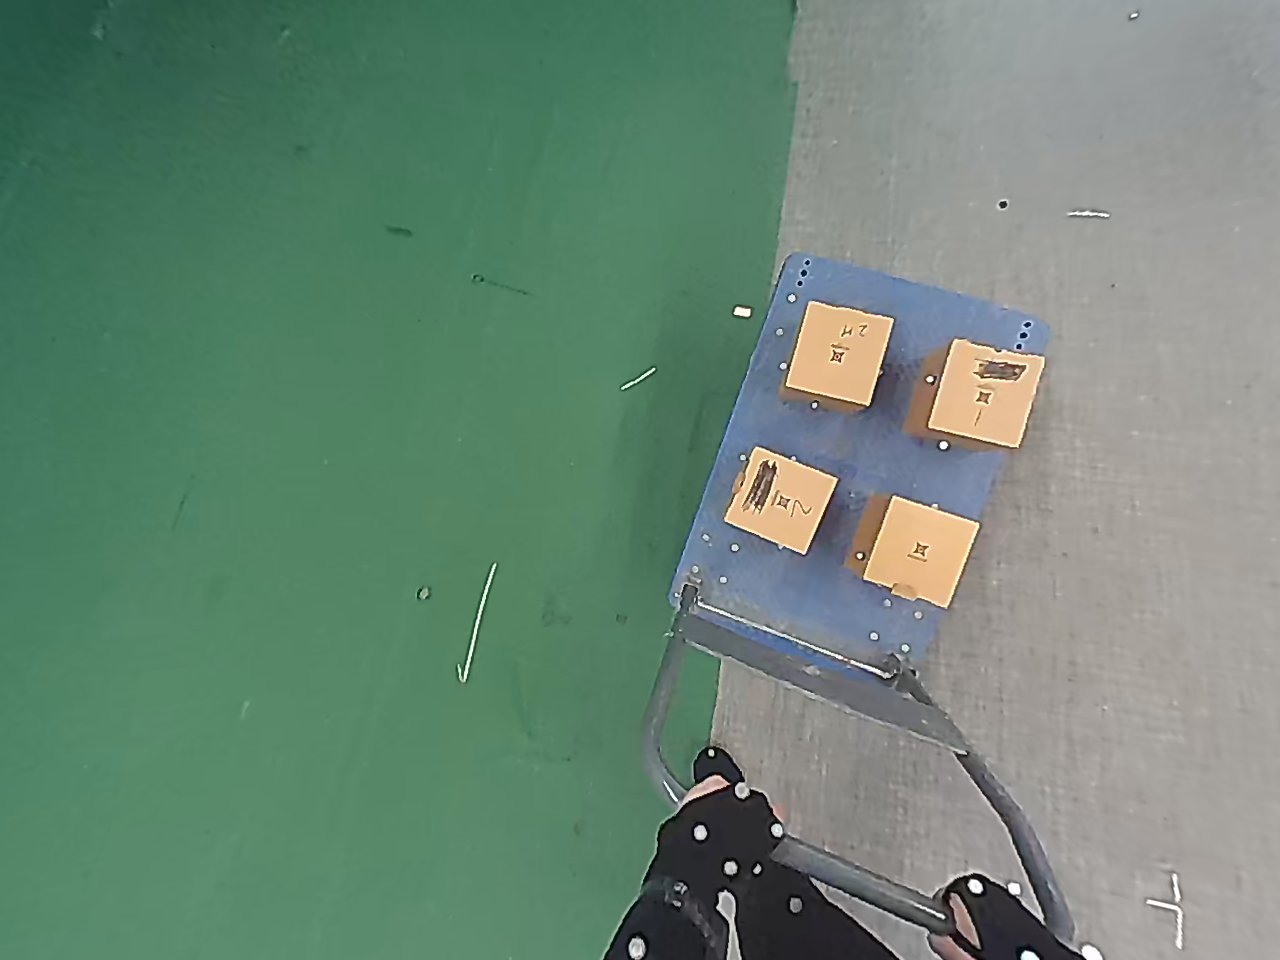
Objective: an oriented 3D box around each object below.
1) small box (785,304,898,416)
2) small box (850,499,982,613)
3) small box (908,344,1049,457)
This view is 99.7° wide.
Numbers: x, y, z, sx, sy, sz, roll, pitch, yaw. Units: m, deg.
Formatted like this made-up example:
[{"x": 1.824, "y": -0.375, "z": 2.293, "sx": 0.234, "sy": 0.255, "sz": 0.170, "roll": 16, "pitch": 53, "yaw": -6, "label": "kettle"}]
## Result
[{"x": 0.408, "y": -0.240, "z": 1.129, "sx": 0.168, "sy": 0.176, "sz": 0.179, "roll": 16, "pitch": 92, "yaw": 8, "label": "small box"}, {"x": 0.551, "y": 0.144, "z": 1.108, "sx": 0.168, "sy": 0.176, "sz": 0.179, "roll": 20, "pitch": 94, "yaw": 9, "label": "small box"}, {"x": 0.666, "y": -0.152, "z": 1.088, "sx": 0.168, "sy": 0.176, "sz": 0.179, "roll": 16, "pitch": 93, "yaw": 9, "label": "small box"}]
